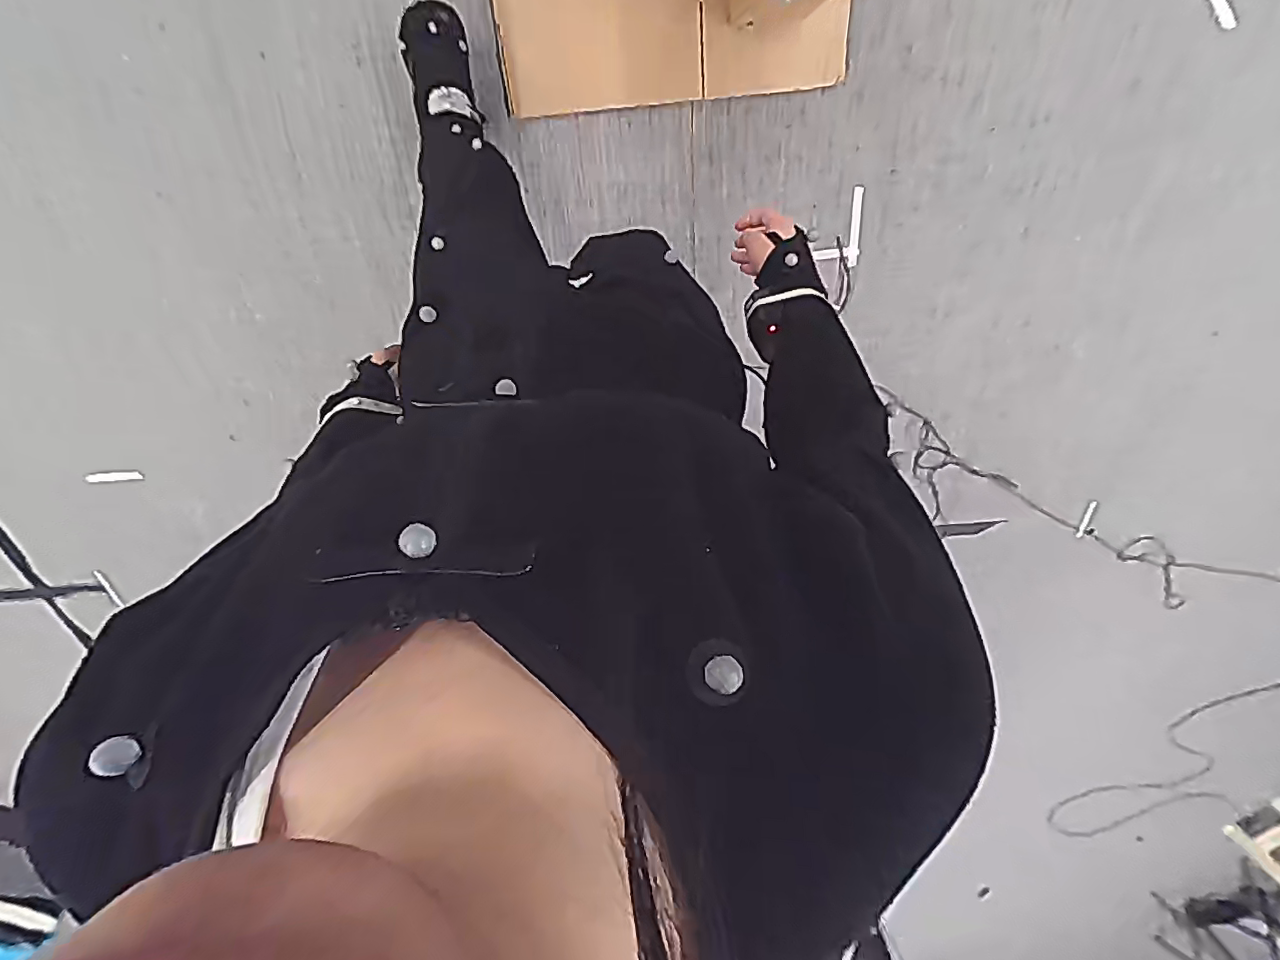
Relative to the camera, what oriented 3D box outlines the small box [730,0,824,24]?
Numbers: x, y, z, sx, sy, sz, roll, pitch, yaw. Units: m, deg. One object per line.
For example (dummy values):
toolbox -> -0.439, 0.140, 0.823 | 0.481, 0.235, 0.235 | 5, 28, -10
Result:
small box -> 0.252, -0.939, 0.955 | 0.168, 0.176, 0.179 | -9, 120, 2
